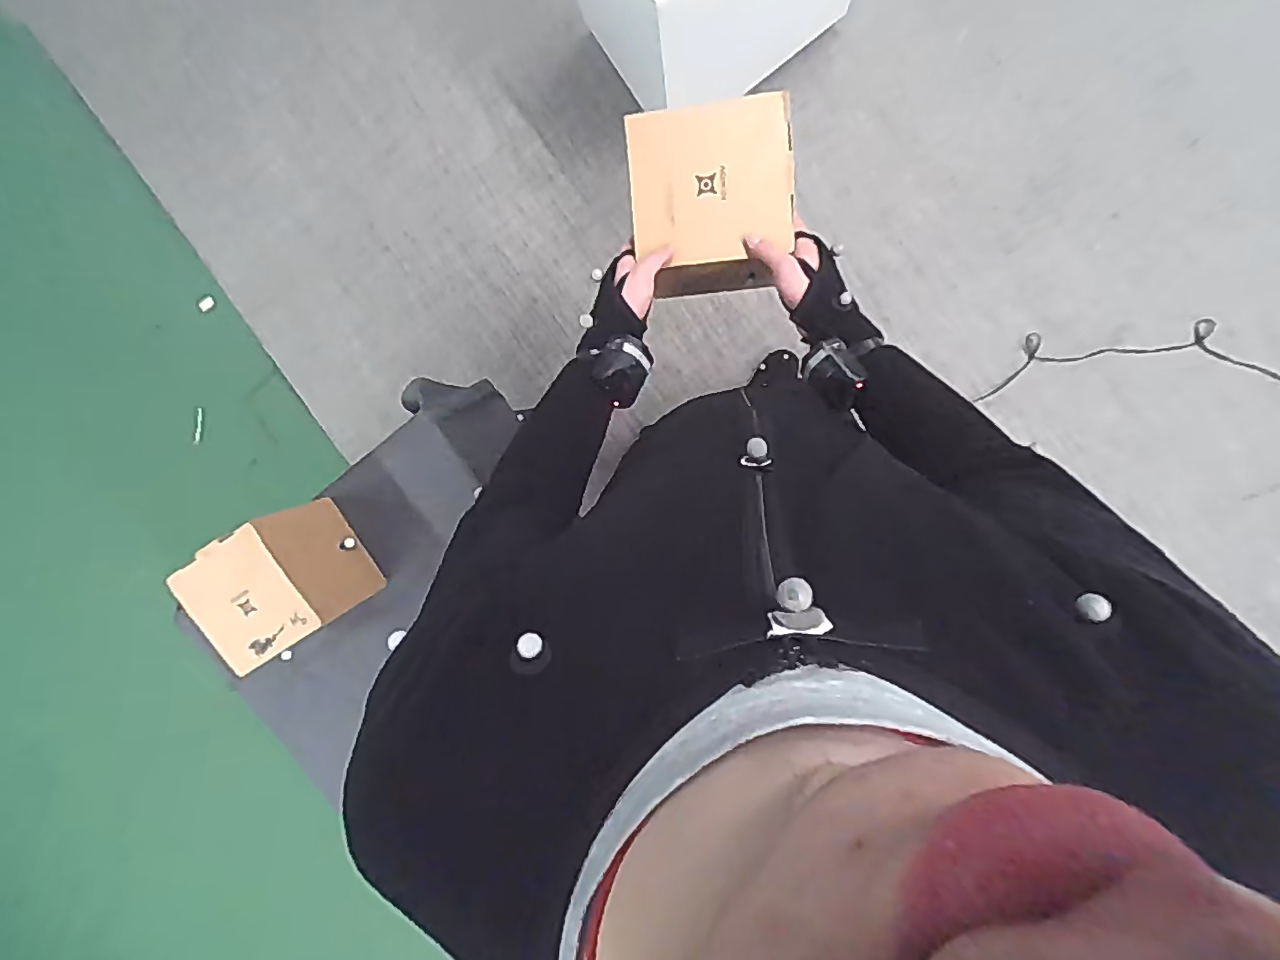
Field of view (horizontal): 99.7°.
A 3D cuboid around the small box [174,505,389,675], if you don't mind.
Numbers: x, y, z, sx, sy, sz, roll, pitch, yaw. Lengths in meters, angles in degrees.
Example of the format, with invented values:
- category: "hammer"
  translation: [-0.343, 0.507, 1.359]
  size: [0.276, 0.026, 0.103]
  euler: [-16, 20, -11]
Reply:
- category: "small box"
  translation: [-0.532, 0.152, 0.827]
  size: [0.168, 0.176, 0.179]
  euler: [-31, 96, 10]

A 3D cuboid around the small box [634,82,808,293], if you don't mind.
- category: "small box"
  translation: [0.095, -0.331, 0.649]
  size: [0.179, 0.176, 0.168]
  euler: [-4, 97, 9]
